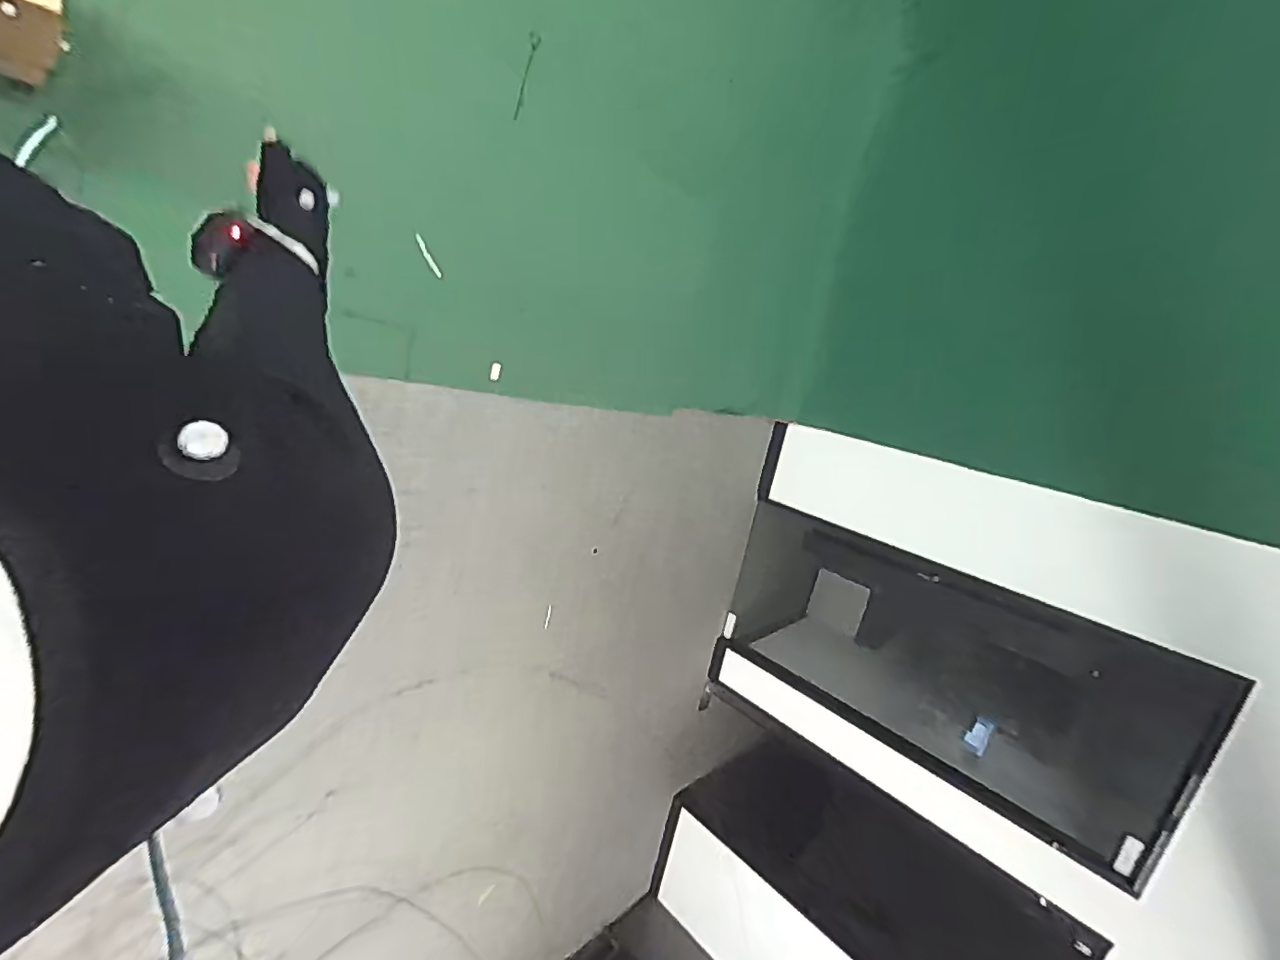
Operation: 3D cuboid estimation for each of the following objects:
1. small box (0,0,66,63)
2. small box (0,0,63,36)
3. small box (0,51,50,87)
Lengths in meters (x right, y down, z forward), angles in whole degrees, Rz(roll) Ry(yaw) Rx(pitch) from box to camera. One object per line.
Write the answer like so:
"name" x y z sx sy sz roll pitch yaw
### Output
"small box" -0.856 -0.668 0.681 0.179 0.176 0.168 2 104 -49
"small box" -0.745 -0.621 0.576 0.179 0.176 0.168 -2 109 -48
"small box" -0.979 -0.715 0.784 0.168 0.176 0.179 -1 108 -47
